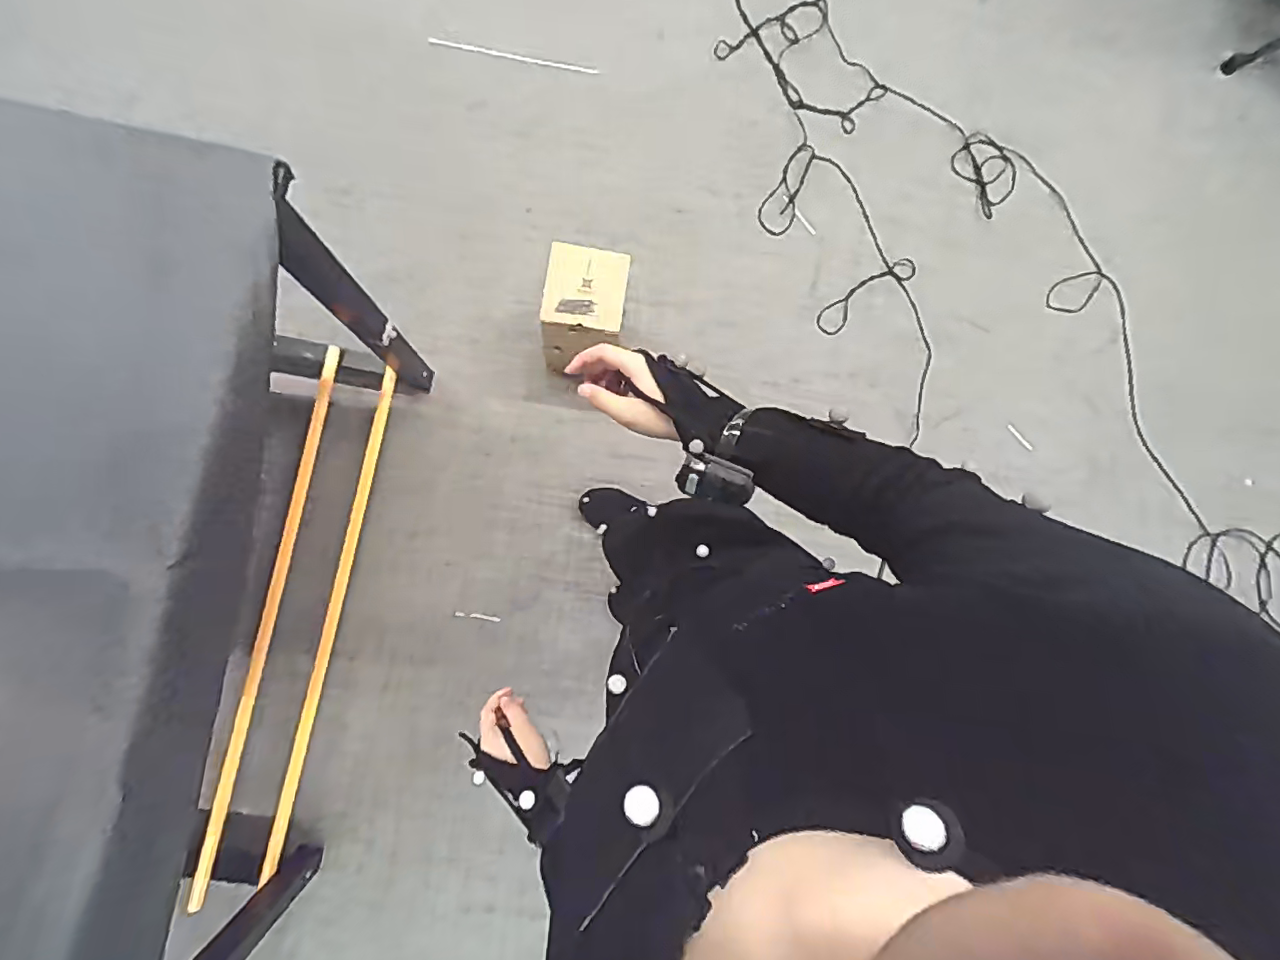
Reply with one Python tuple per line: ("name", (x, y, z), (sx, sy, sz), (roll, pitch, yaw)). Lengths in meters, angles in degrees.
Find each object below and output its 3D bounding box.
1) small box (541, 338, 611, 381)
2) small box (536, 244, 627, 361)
("small box", (-0.144, -0.367, 1.337), (0.168, 0.176, 0.179), (10, 80, -4))
("small box", (-0.124, -0.376, 1.175), (0.168, 0.176, 0.179), (8, 81, -5))
